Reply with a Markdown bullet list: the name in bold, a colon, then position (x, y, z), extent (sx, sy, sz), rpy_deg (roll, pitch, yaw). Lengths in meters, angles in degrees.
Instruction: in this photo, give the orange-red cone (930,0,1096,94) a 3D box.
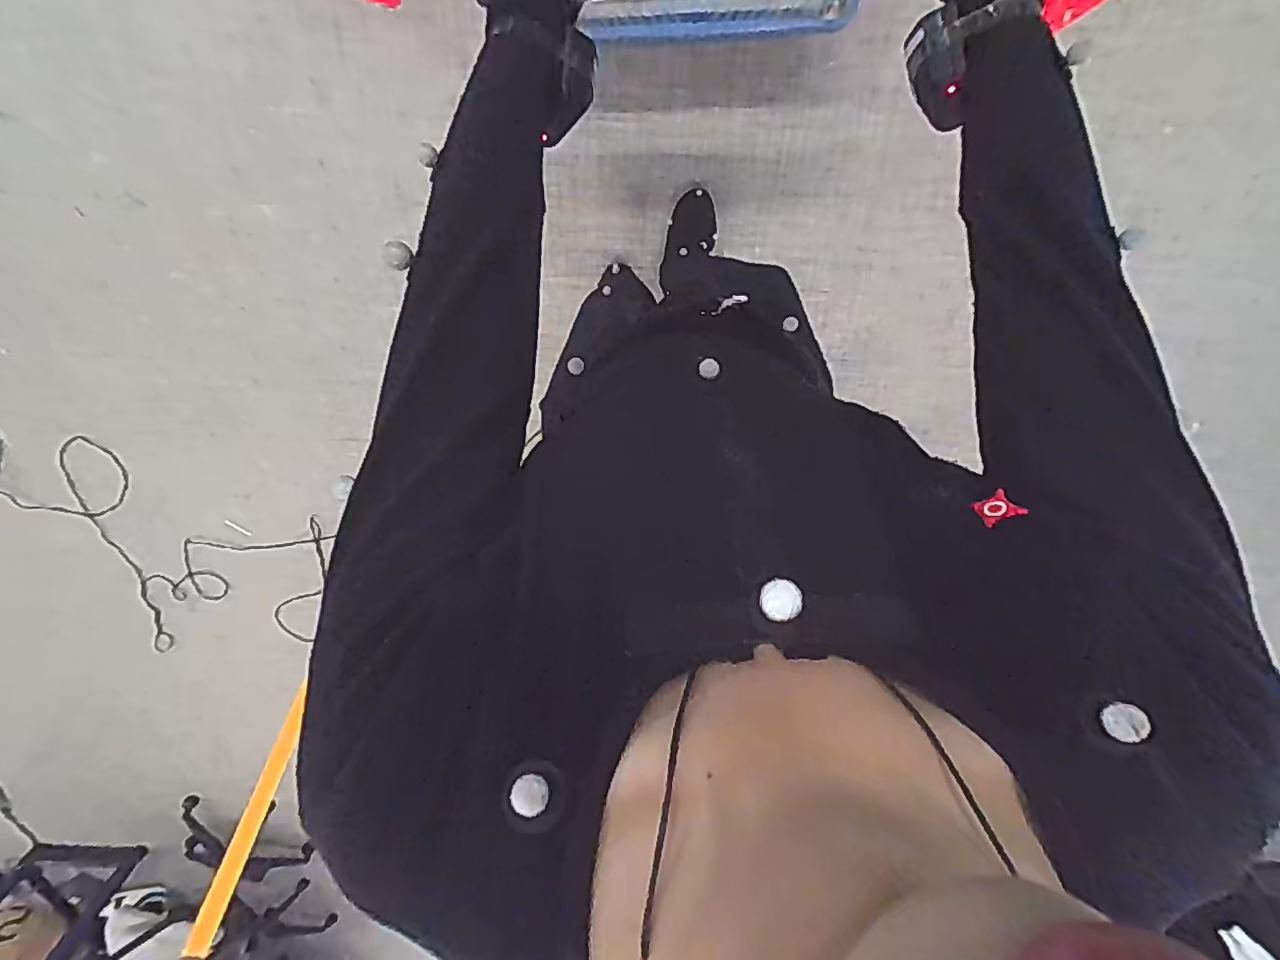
- **orange-red cone**: position (0.704, -0.828, 0.939), extent (0.198, 0.360, 0.199), rpy_deg (13, 120, -4)
